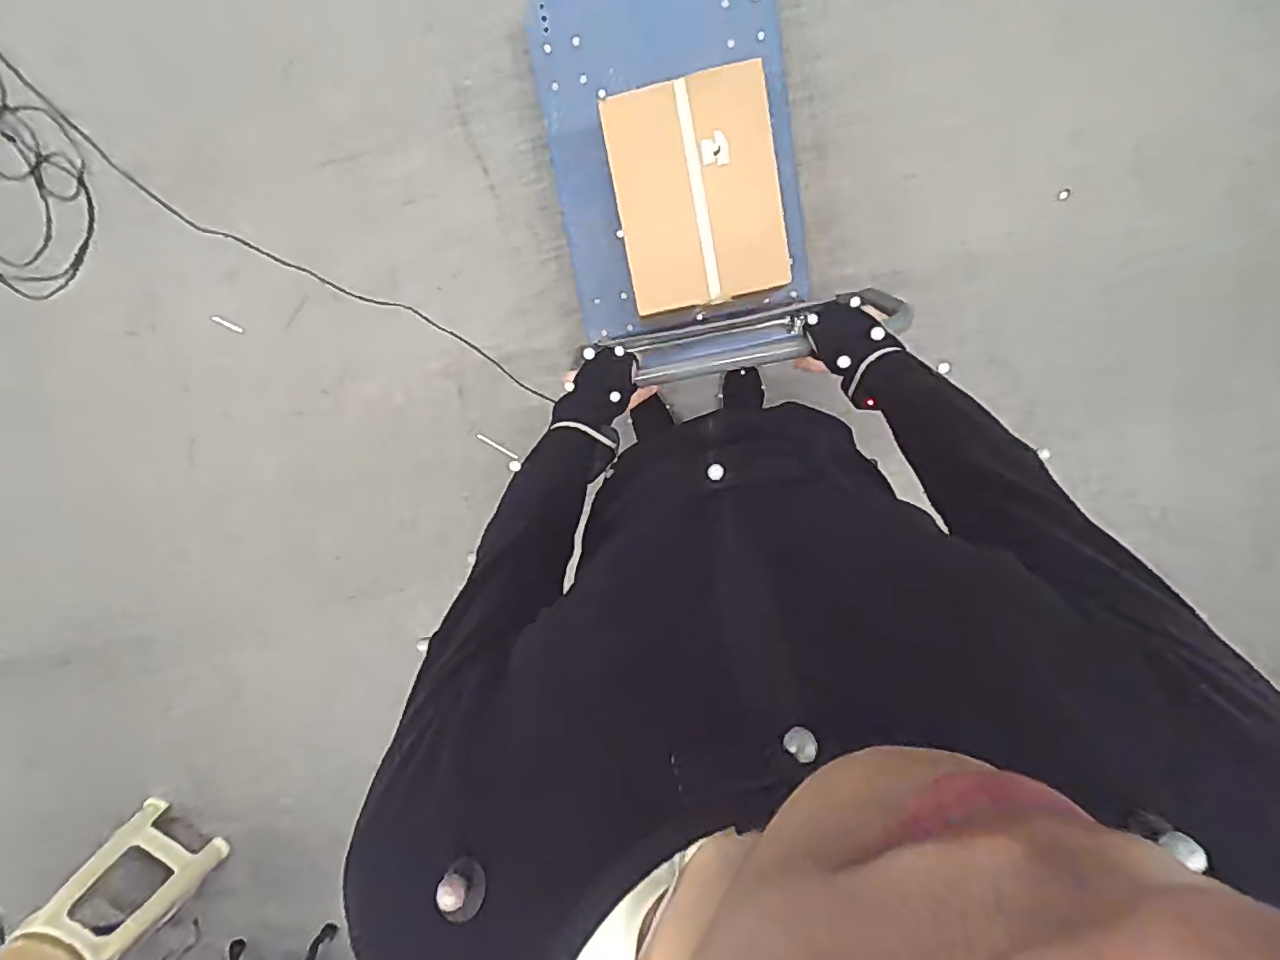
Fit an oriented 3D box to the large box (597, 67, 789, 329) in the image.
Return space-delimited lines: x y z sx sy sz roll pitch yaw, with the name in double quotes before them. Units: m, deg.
"large box" 0.117 -0.577 1.197 0.320 0.320 0.408 -11 100 5
